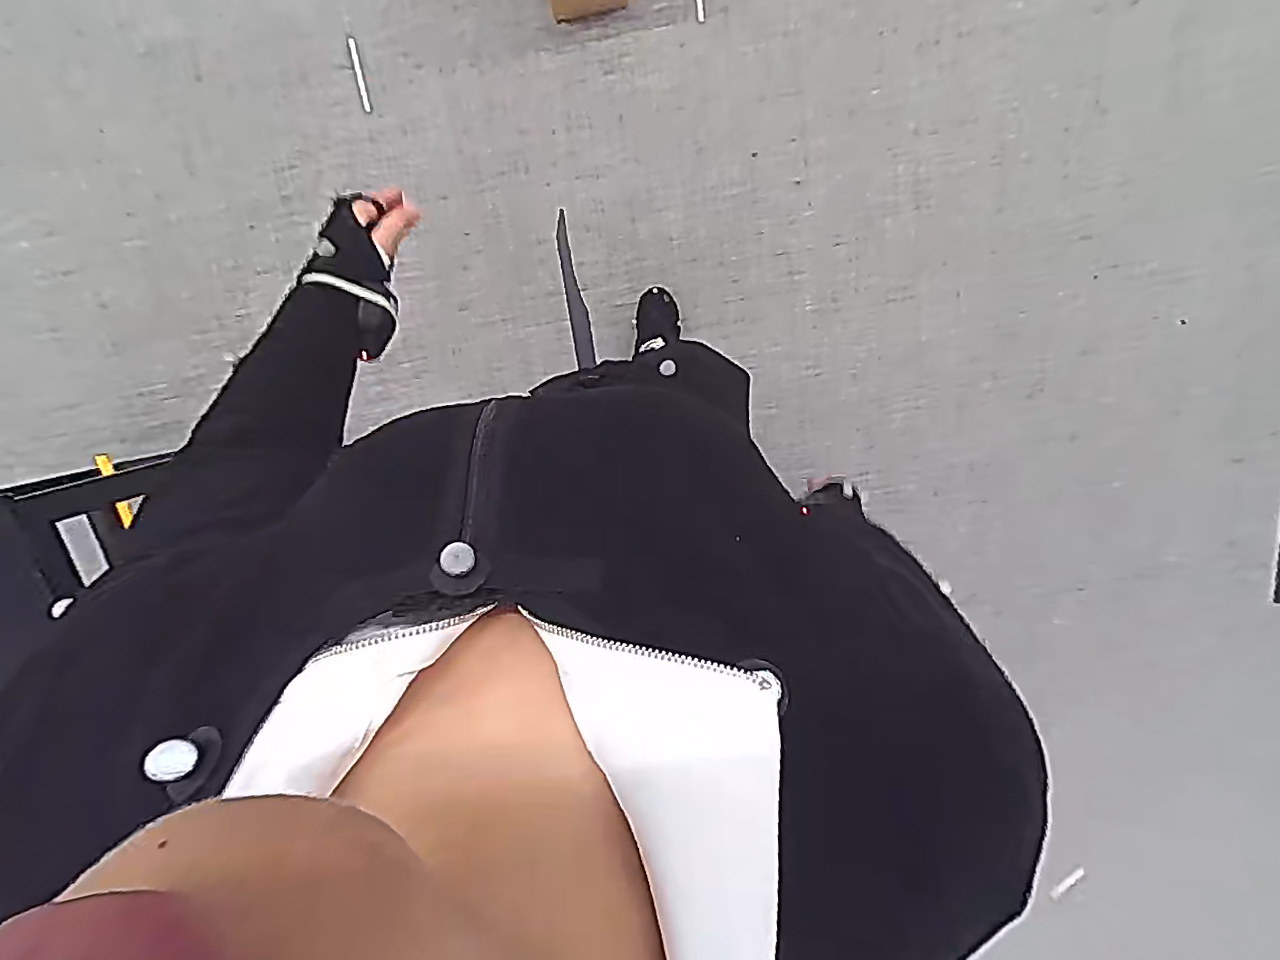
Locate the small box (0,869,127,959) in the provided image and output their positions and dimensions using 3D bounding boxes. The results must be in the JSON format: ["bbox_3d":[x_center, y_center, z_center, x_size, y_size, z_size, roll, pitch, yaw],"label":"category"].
[{"bbox_3d":[-1.009,0.780,0.889,0.179,0.176,0.168,-8,104,3],"label":"small box"}]

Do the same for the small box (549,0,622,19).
[{"bbox_3d":[-0.122,-1.113,1.125,0.179,0.176,0.168,-9,105,3],"label":"small box"}]
